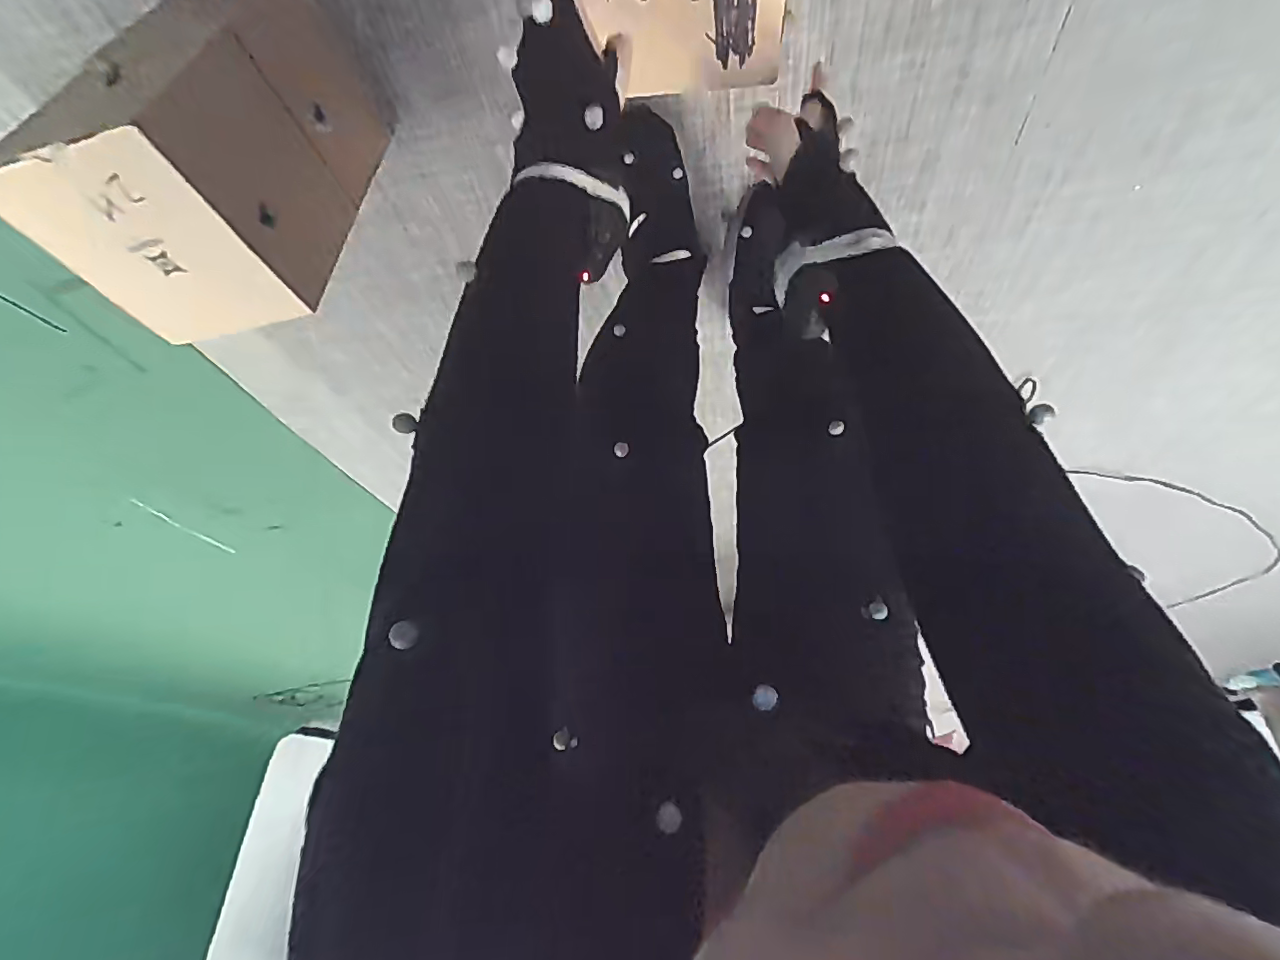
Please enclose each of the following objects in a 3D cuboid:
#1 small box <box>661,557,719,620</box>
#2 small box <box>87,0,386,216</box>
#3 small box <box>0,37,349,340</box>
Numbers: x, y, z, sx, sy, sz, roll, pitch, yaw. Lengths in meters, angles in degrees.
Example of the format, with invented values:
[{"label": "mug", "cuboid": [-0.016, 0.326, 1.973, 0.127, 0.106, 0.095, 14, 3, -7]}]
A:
[{"label": "small box", "cuboid": [0.169, 0.370, 1.847, 0.179, 0.176, 0.168, -6, 147, 11]}, {"label": "small box", "cuboid": [-0.414, -0.407, 0.596, 0.168, 0.176, 0.179, -7, 147, 9]}, {"label": "small box", "cuboid": [-0.415, -0.266, 0.512, 0.168, 0.176, 0.179, -8, 147, 10]}]
